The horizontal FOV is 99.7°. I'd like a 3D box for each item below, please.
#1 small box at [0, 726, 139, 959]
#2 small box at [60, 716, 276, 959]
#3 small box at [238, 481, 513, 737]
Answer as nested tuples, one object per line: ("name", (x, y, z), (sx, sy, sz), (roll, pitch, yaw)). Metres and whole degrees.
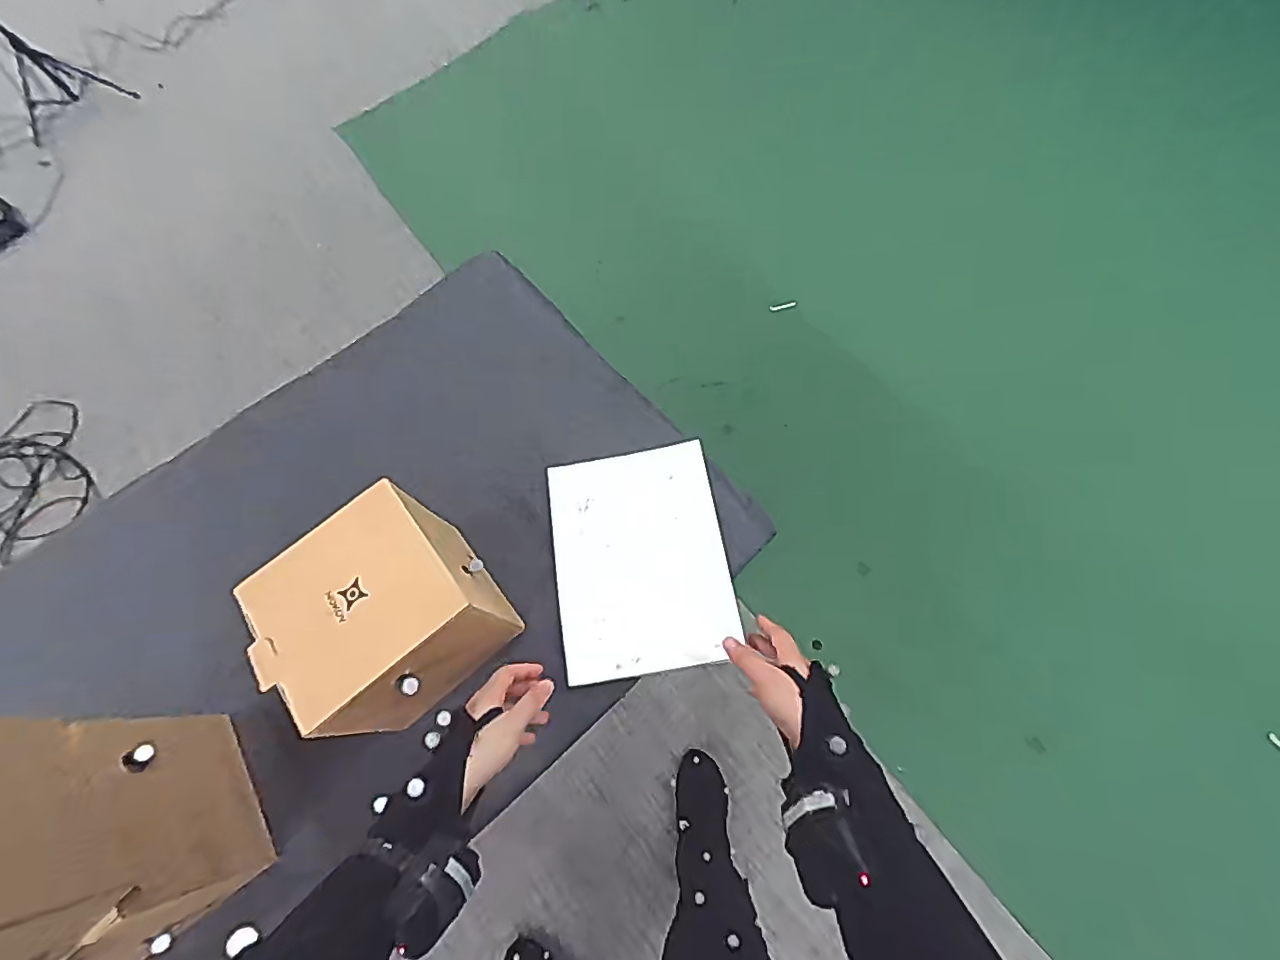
("small box", (-0.515, 0.290, 0.365), (0.179, 0.176, 0.168), (40, 79, 18))
("small box", (-0.501, 0.350, 0.516), (0.168, 0.176, 0.179), (-36, 69, -7))
("small box", (-0.255, 0.136, 0.569), (0.179, 0.176, 0.168), (-40, 69, -8))
